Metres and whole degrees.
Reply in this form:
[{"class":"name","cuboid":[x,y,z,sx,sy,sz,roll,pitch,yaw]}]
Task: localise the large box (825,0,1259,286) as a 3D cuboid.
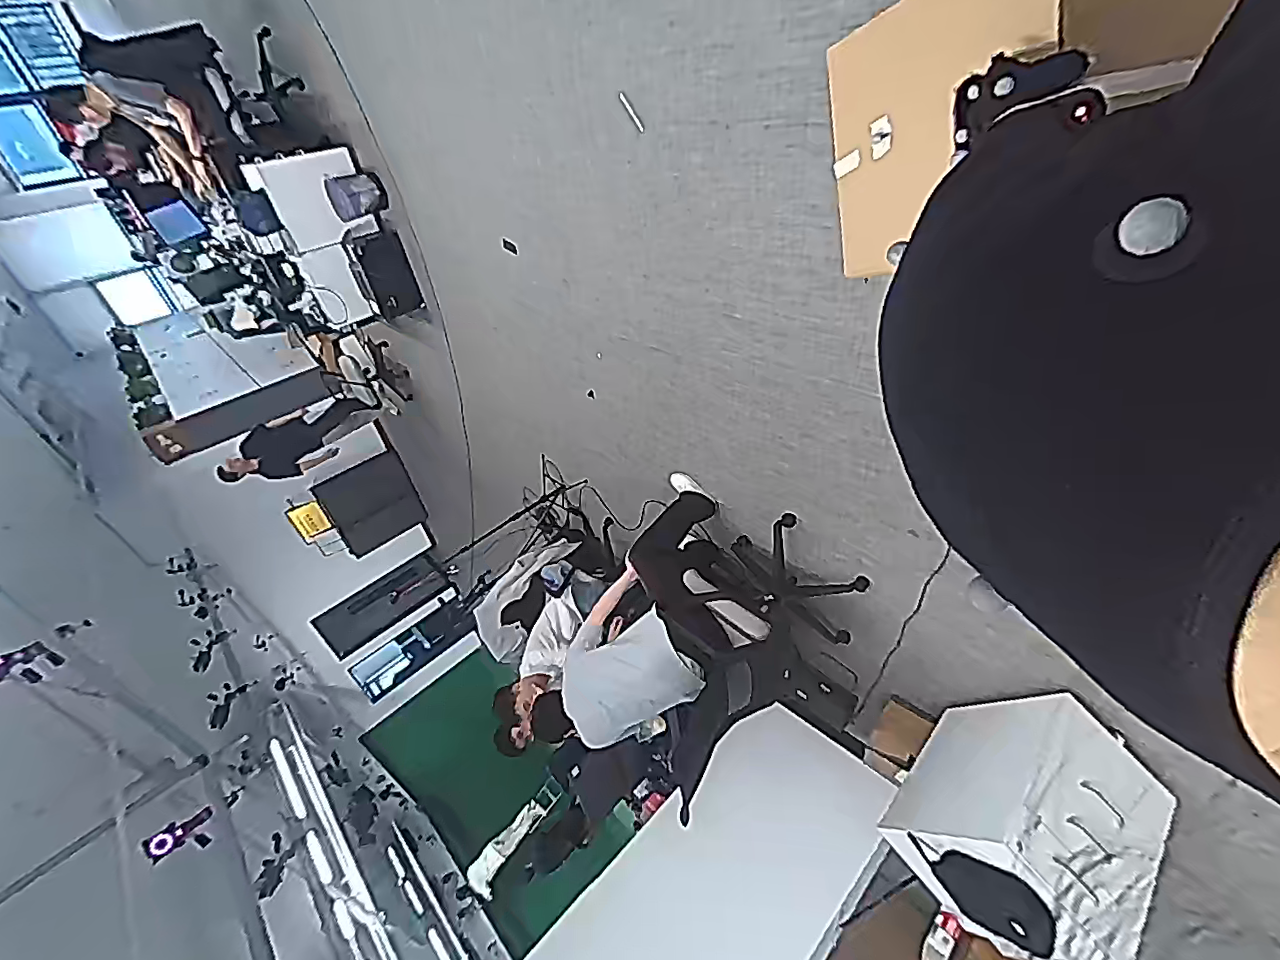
[{"class":"large box","cuboid":[0.532,-0.484,0.759,0.320,0.408,0.320,32,139,62]}]
